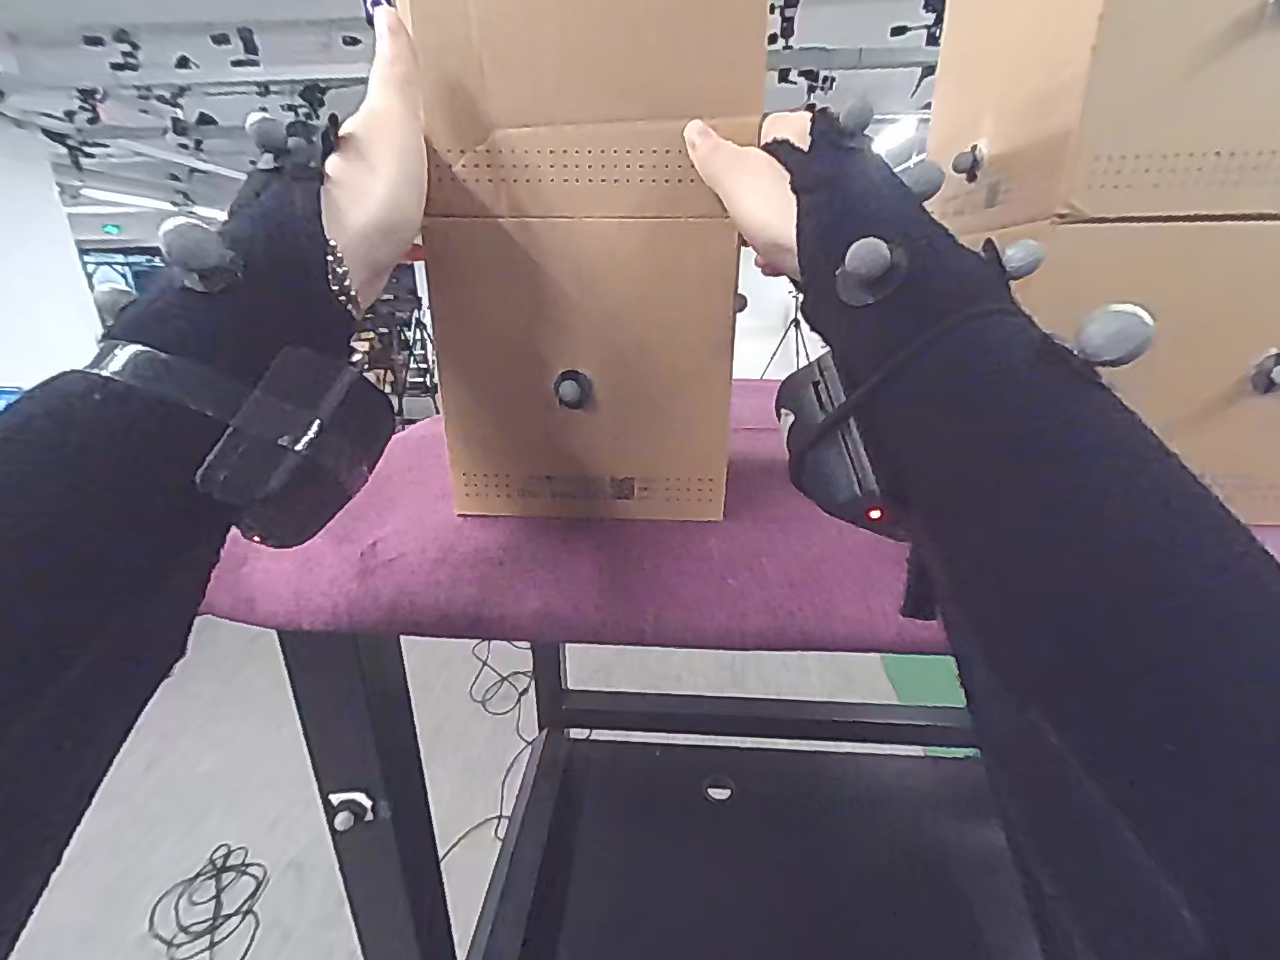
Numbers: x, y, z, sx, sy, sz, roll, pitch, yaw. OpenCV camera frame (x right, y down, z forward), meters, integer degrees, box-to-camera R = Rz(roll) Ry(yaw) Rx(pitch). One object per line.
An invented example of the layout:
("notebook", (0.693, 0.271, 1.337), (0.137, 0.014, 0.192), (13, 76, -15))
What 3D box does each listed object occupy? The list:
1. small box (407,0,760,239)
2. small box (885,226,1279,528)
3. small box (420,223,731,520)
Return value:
("small box", (-0.026, -0.232, 0.325), (0.179, 0.176, 0.168), (2, 21, 1))
("small box", (0.293, -0.073, 0.371), (0.179, 0.176, 0.168), (0, 19, 3))
("small box", (-0.029, -0.079, 0.380), (0.168, 0.176, 0.179), (1, 20, 2))
